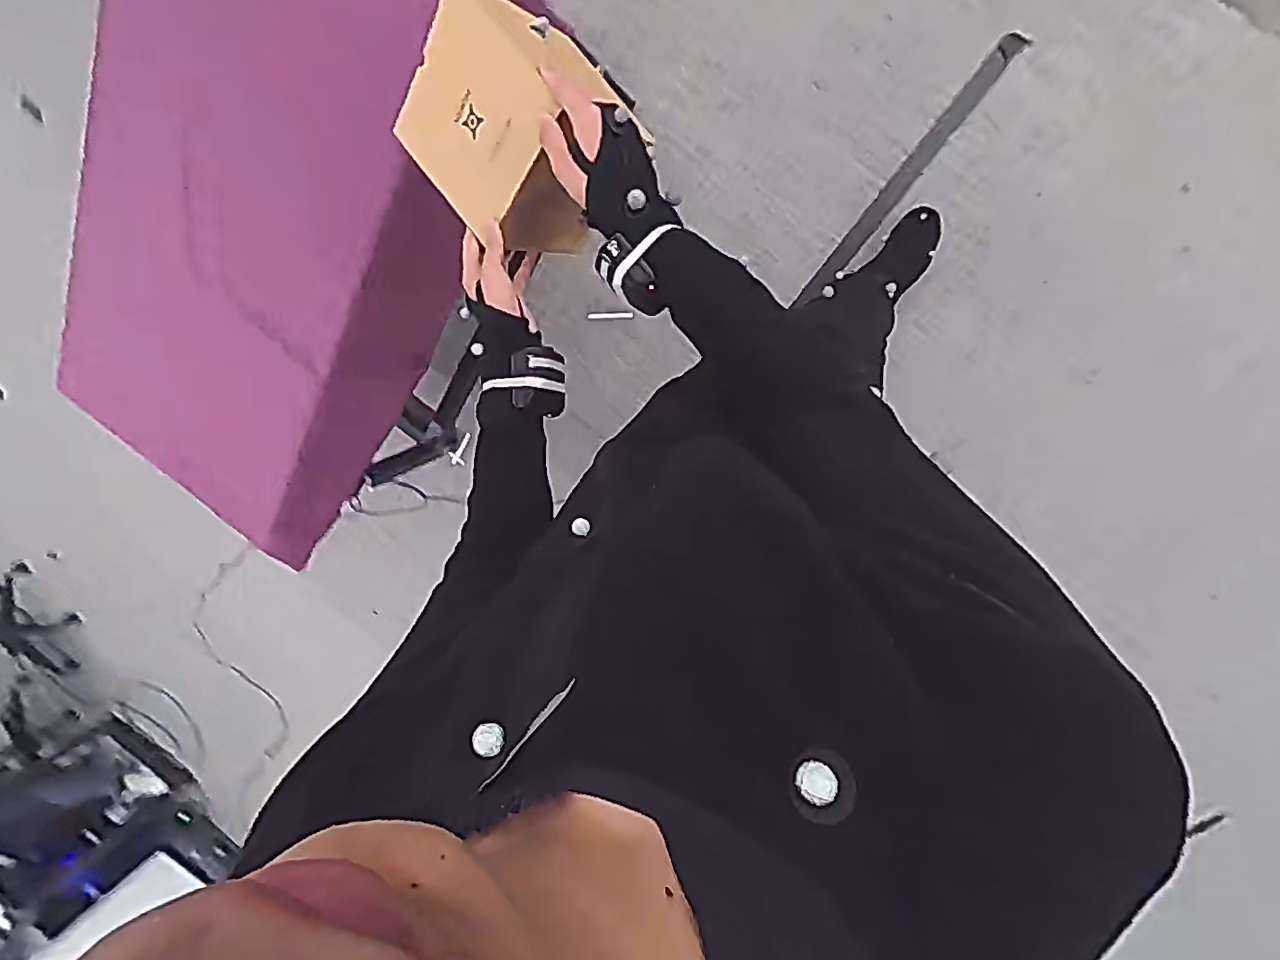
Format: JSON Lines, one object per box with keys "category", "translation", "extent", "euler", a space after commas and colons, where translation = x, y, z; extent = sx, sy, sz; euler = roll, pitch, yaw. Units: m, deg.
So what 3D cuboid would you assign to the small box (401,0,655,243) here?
{"category": "small box", "translation": [-0.118, -0.386, 0.597], "extent": [0.168, 0.176, 0.179], "euler": [-41, 83, 36]}
